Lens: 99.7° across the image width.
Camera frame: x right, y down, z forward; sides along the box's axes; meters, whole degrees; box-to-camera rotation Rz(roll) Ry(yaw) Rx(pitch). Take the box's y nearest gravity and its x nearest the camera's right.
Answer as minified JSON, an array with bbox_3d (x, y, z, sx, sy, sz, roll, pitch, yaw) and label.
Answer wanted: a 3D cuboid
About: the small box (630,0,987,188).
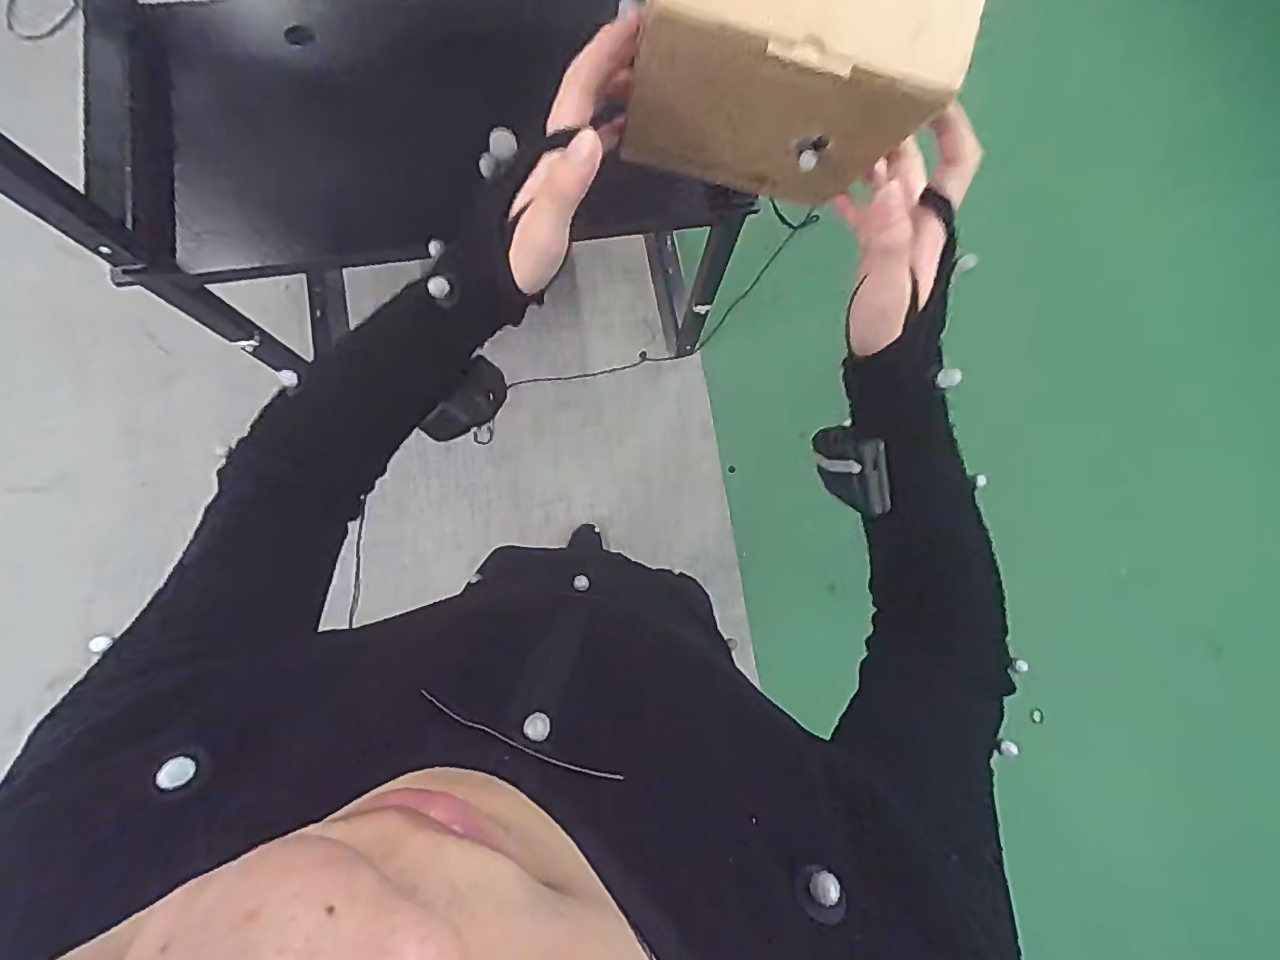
[{"bbox_3d":[0.092,-0.307,0.326,0.168,0.176,0.179,10,98,-8],"label":"small box"}]
